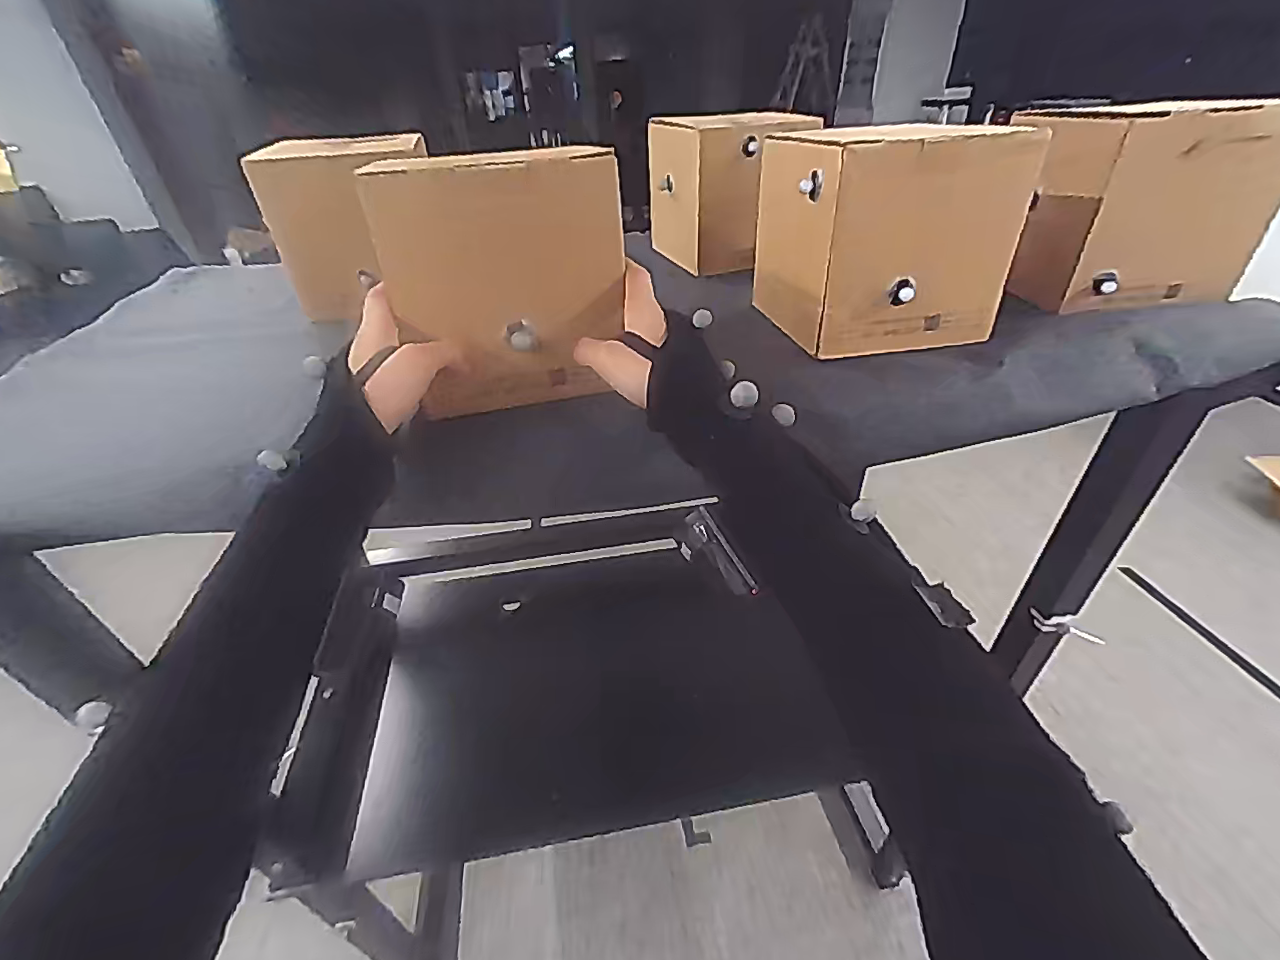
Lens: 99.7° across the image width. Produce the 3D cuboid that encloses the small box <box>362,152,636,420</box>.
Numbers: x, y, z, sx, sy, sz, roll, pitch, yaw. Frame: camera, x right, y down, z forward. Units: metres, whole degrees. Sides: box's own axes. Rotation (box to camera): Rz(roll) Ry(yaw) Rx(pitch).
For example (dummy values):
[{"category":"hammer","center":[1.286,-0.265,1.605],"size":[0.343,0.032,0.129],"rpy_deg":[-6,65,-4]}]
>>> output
[{"category":"small box","center":[-0.104,-0.168,0.450],"size":[0.168,0.176,0.179],"rpy_deg":[-11,35,-10]}]

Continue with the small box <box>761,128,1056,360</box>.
[{"category":"small box","center":[0.221,-0.226,0.508],"size":[0.168,0.176,0.179],"rpy_deg":[-8,35,-6]}]

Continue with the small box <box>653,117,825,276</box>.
[{"category":"small box","center":[0.122,-0.390,0.739],"size":[0.168,0.176,0.179],"rpy_deg":[-14,37,-14]}]

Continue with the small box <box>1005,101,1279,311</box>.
[{"category":"small box","center":[0.489,-0.278,0.555],"size":[0.168,0.176,0.179],"rpy_deg":[-3,34,1]}]
